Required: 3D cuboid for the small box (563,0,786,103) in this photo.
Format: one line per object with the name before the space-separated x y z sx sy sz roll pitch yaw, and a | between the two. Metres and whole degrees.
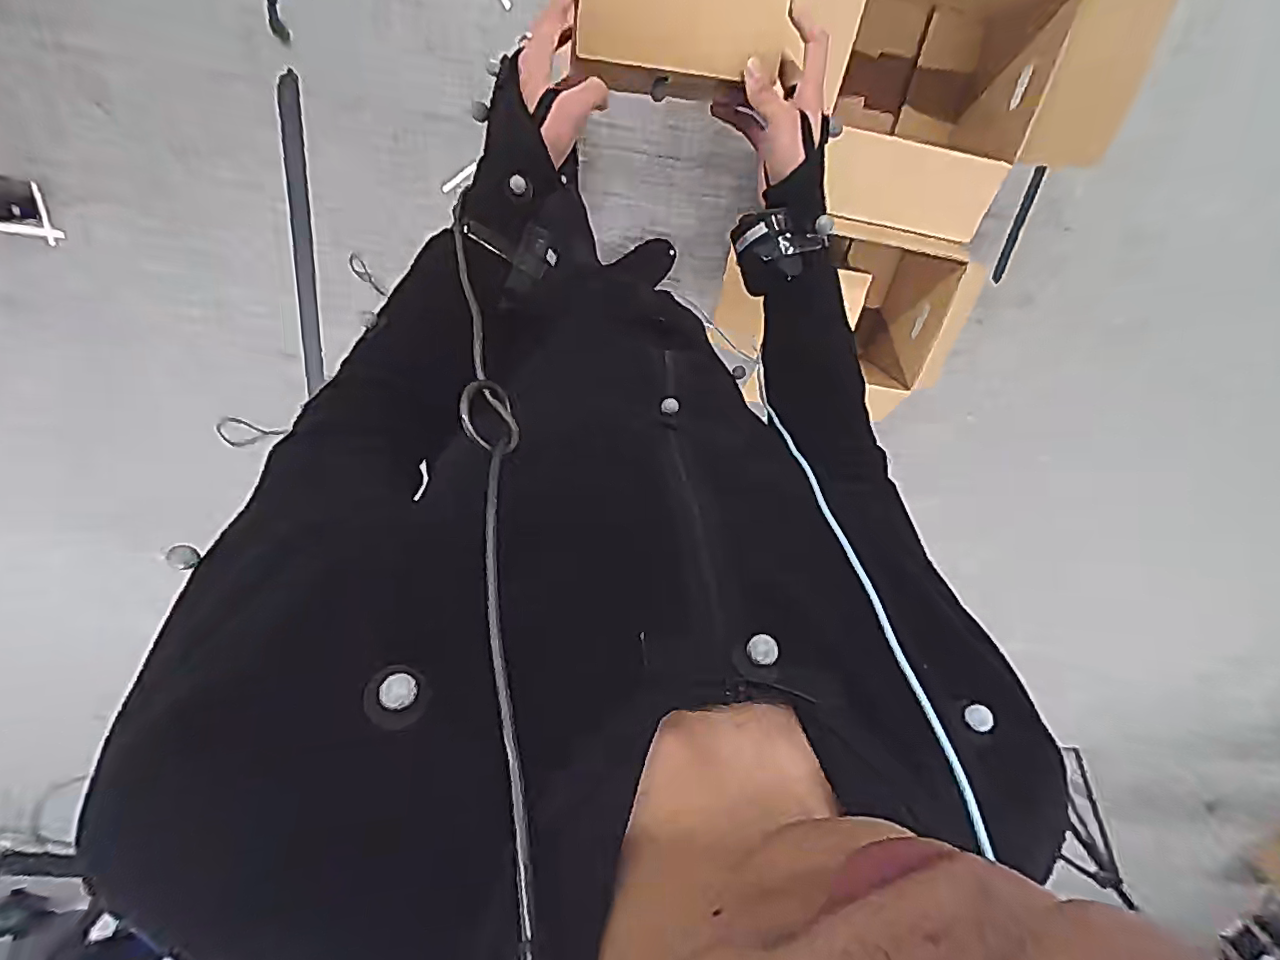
small box | 0.023 -0.446 0.479 0.179 0.176 0.168 0 120 -9
